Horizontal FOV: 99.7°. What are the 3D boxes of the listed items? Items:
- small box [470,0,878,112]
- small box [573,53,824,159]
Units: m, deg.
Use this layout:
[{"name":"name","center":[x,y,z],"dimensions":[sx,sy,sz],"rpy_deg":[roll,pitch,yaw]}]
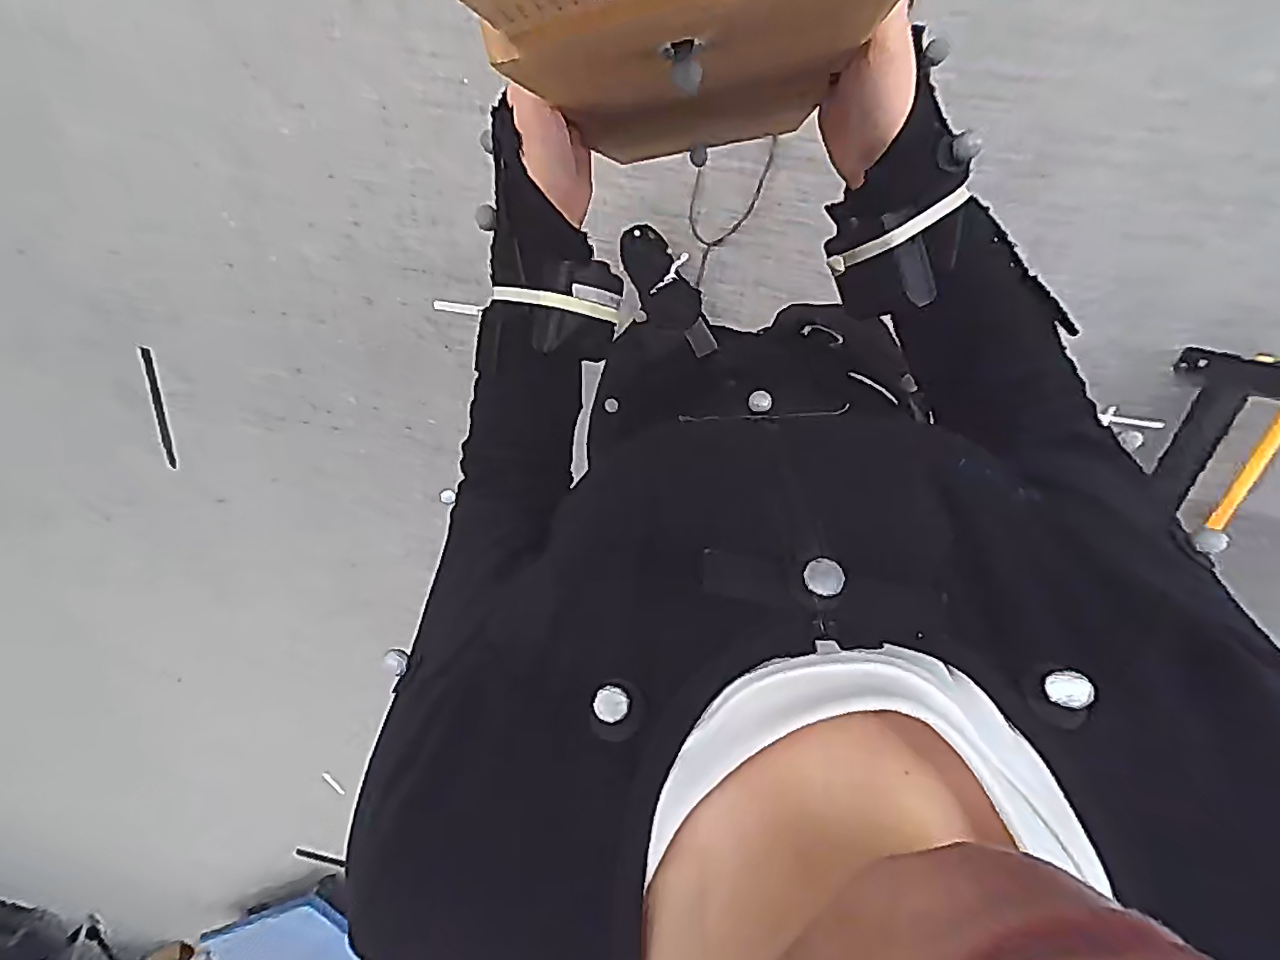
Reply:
[{"name":"small box","center":[0.018,-0.289,0.244],"dimensions":[0.179,0.176,0.168],"rpy_deg":[-5,115,12]},{"name":"small box","center":[0.036,-0.352,0.393],"dimensions":[0.168,0.176,0.179],"rpy_deg":[-4,116,11]}]
